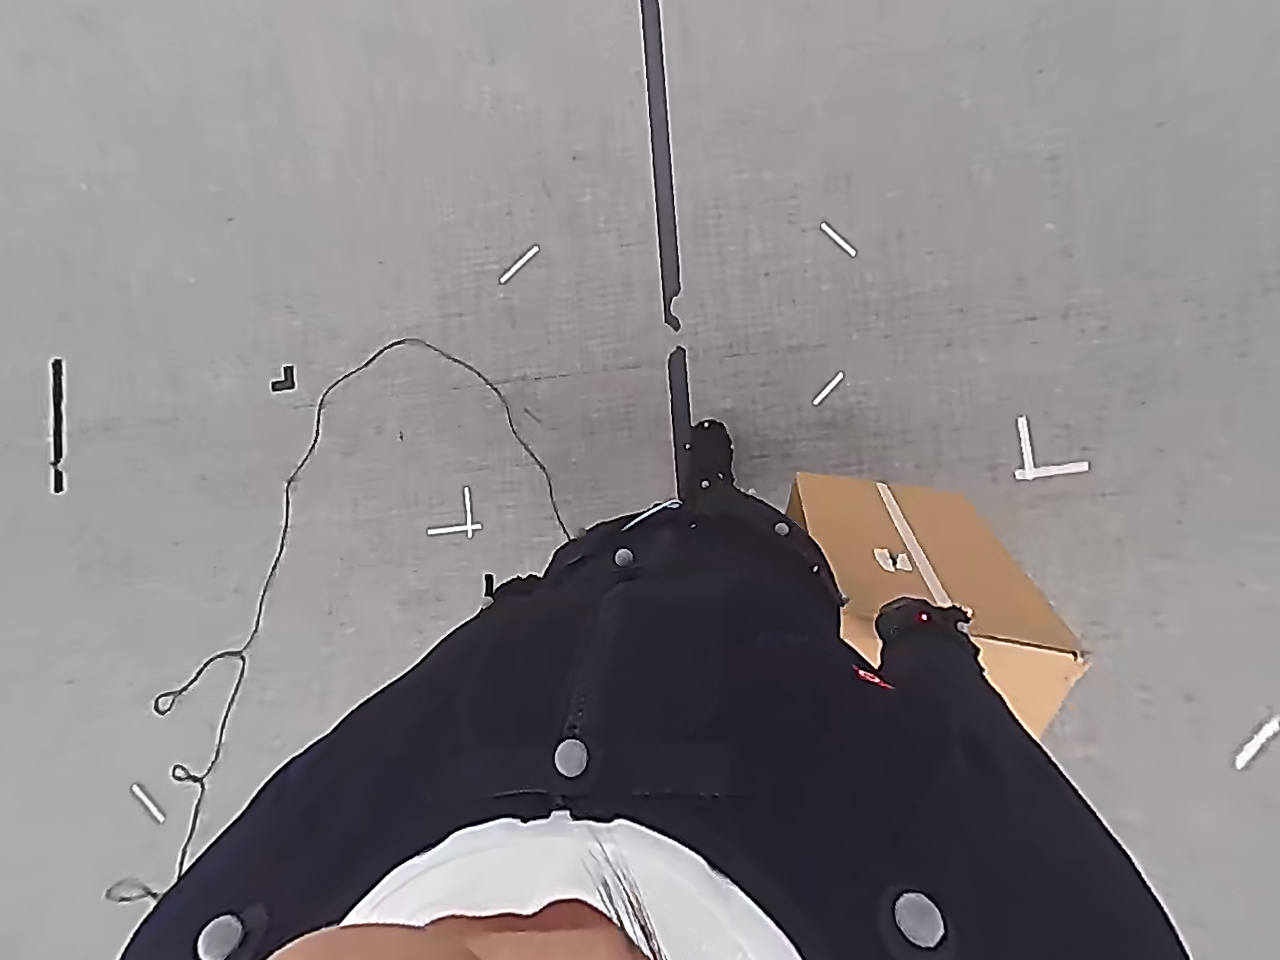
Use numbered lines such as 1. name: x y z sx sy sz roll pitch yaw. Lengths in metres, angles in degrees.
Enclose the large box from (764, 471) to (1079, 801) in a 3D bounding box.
1. large box: 0.397 0.228 0.905 0.320 0.408 0.320 8 119 7
